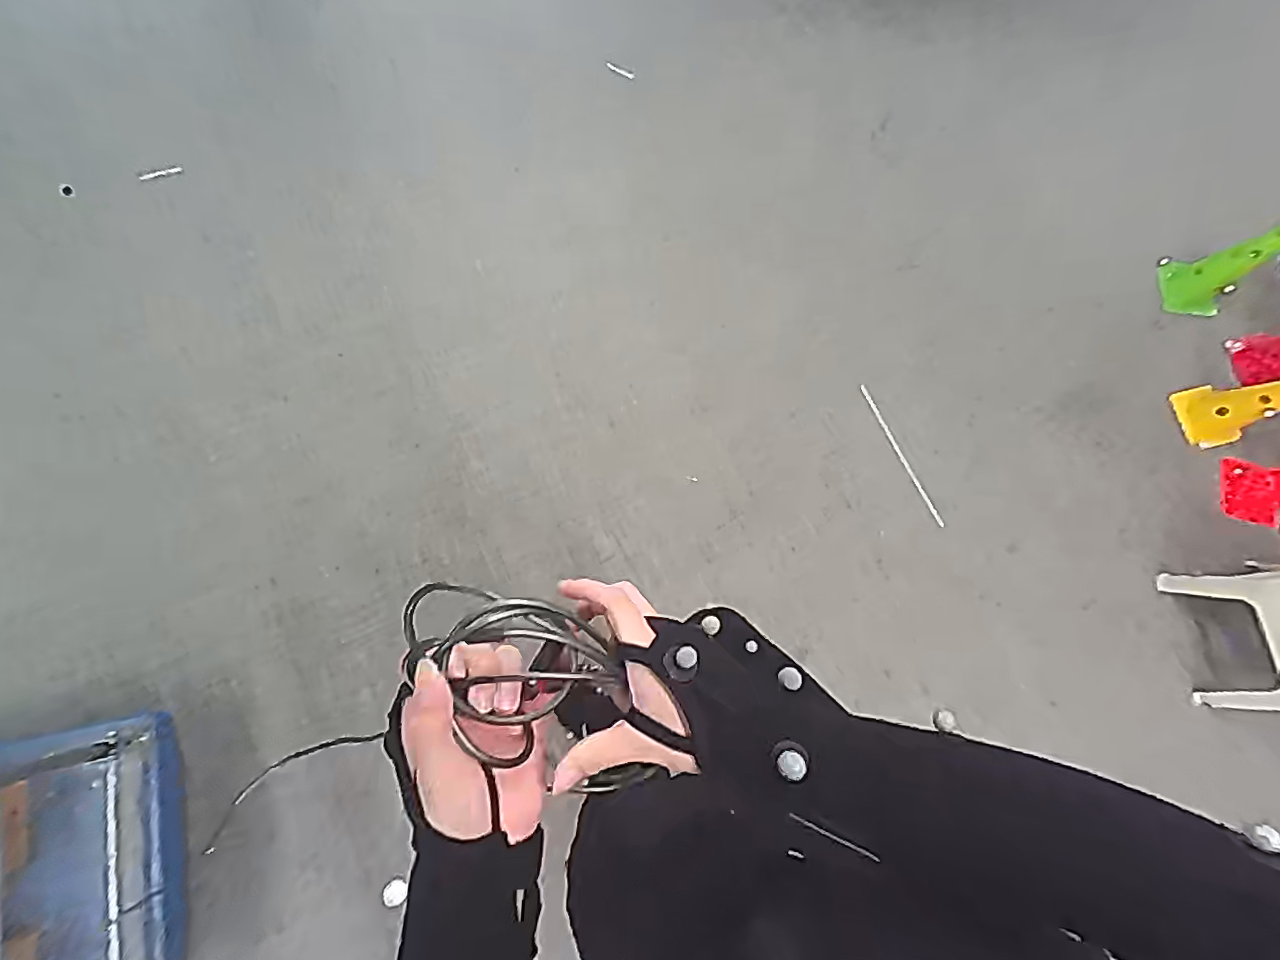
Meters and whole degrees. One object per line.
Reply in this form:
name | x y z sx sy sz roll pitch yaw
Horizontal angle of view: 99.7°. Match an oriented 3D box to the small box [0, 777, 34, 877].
small box | -1.230 0.640 0.933 0.179 0.176 0.168 -9 78 -10
